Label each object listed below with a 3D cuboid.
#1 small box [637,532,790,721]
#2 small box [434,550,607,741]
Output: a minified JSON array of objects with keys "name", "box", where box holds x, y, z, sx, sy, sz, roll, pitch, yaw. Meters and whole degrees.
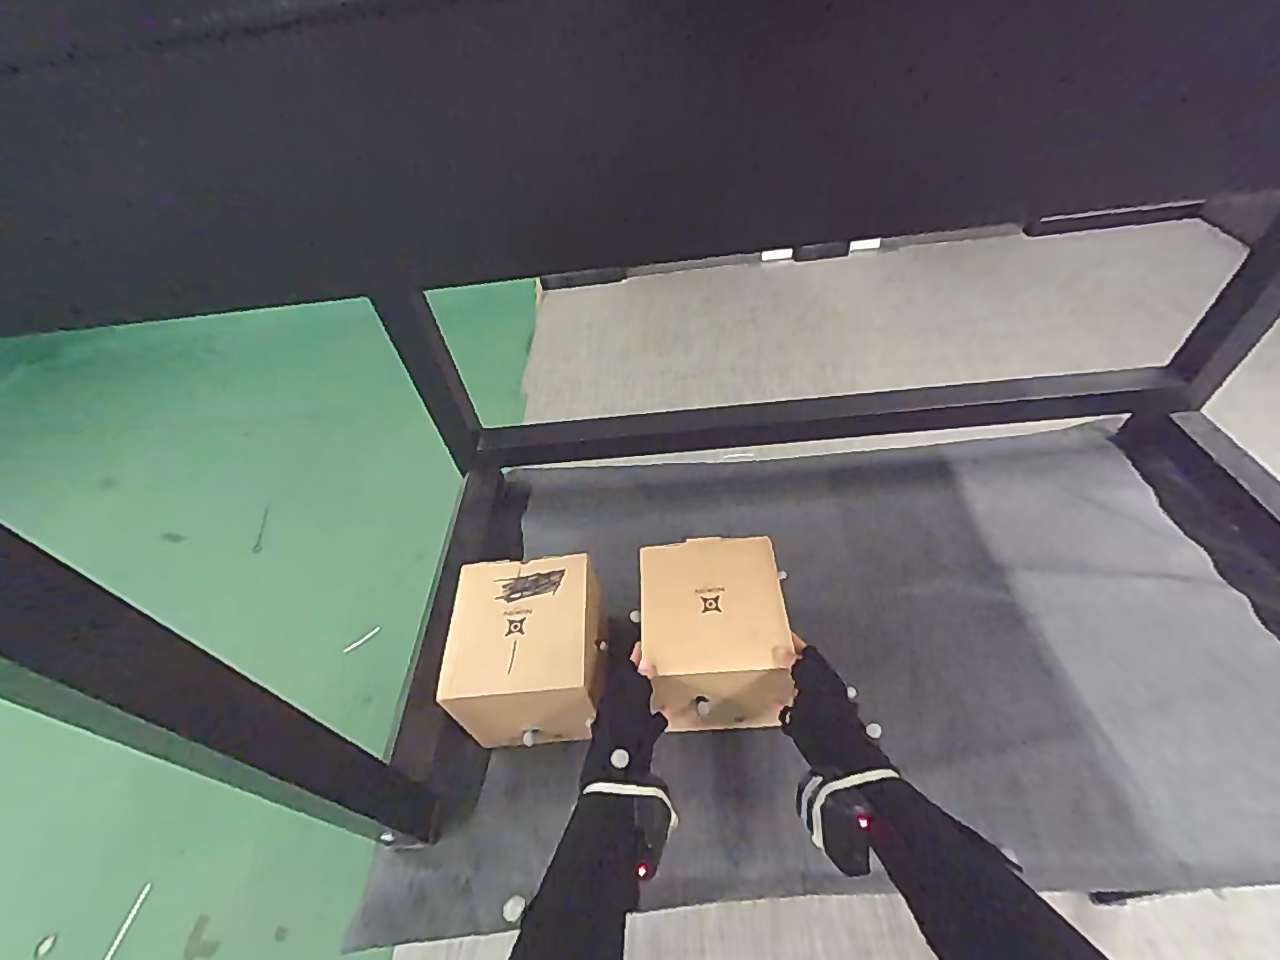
[{"name":"small box","box":[0.088,0.190,0.681,0.168,0.176,0.179,-5,45,5]},{"name":"small box","box":[-0.137,0.213,0.694,0.168,0.176,0.179,-6,47,3]}]
